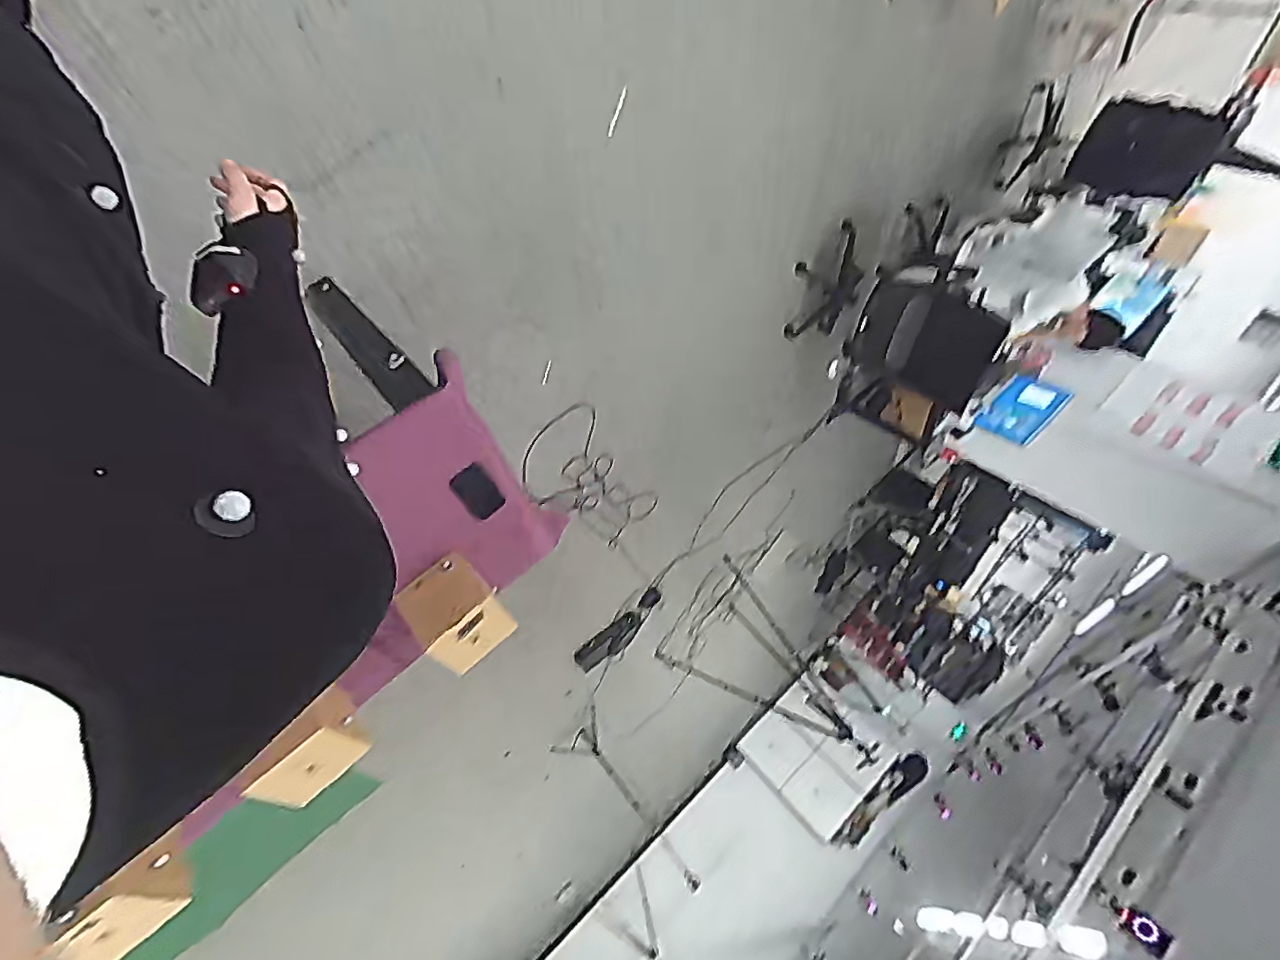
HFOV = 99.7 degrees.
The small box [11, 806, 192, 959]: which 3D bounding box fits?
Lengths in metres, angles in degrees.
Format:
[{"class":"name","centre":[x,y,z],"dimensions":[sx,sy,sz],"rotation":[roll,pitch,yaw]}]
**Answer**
[{"class":"small box","centre":[-1.000,0.749,1.013],"dimensions":[0.168,0.176,0.179],"rotation":[-38,145,-18]}]

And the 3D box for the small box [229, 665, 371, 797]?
[{"class":"small box","centre":[-0.706,0.519,1.128],"dimensions":[0.168,0.176,0.179],"rotation":[-38,144,-17]}]

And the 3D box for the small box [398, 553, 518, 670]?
[{"class":"small box","centre":[-0.414,0.292,1.233],"dimensions":[0.168,0.176,0.179],"rotation":[-39,145,-16]}]
